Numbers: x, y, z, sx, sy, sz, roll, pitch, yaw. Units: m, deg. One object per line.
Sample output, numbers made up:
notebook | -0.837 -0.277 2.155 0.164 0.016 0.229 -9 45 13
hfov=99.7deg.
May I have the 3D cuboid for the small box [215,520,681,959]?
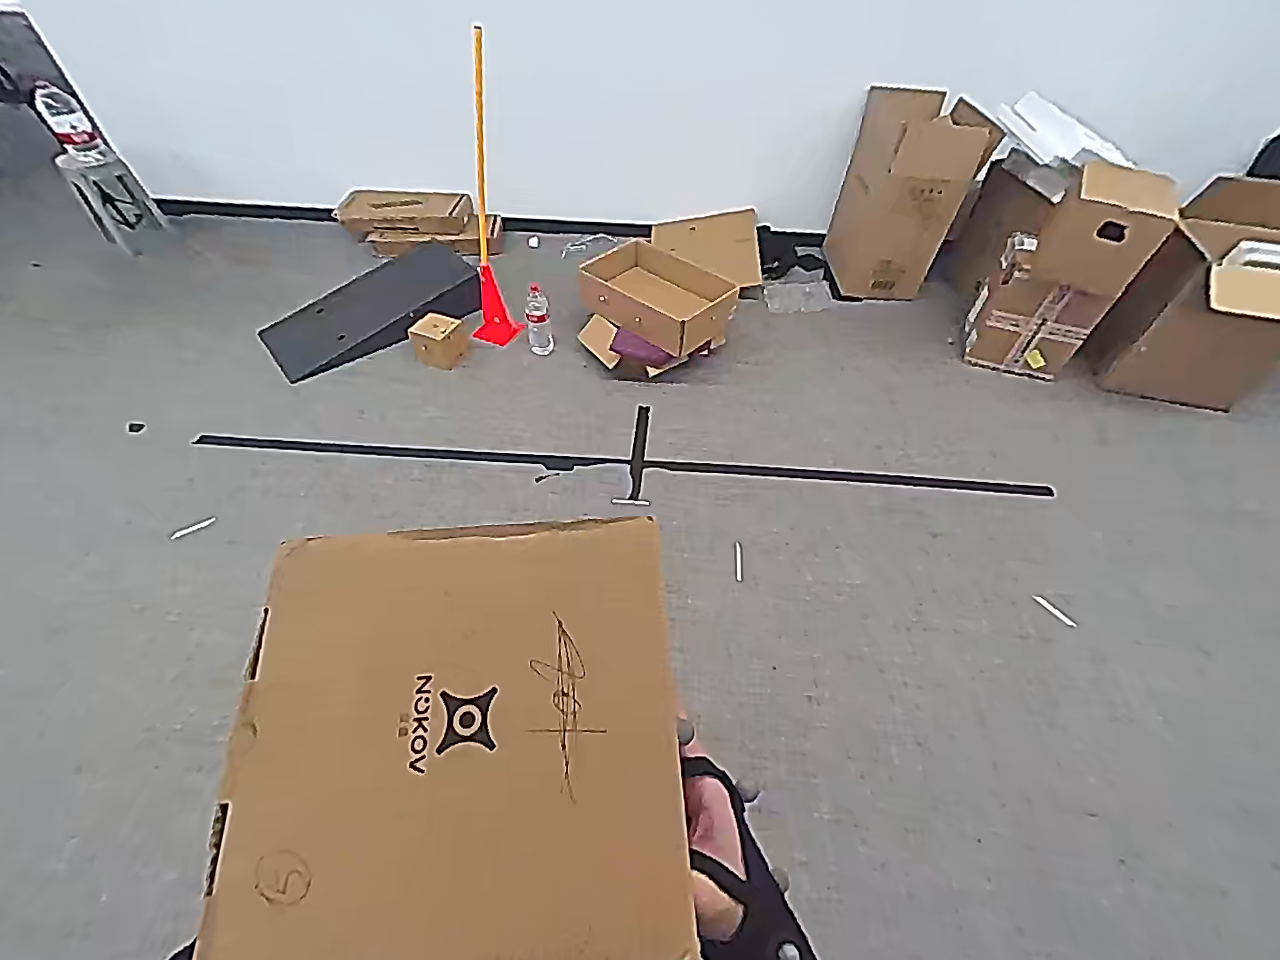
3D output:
small box | -0.076 0.131 0.304 0.179 0.176 0.168 -4 67 -3
